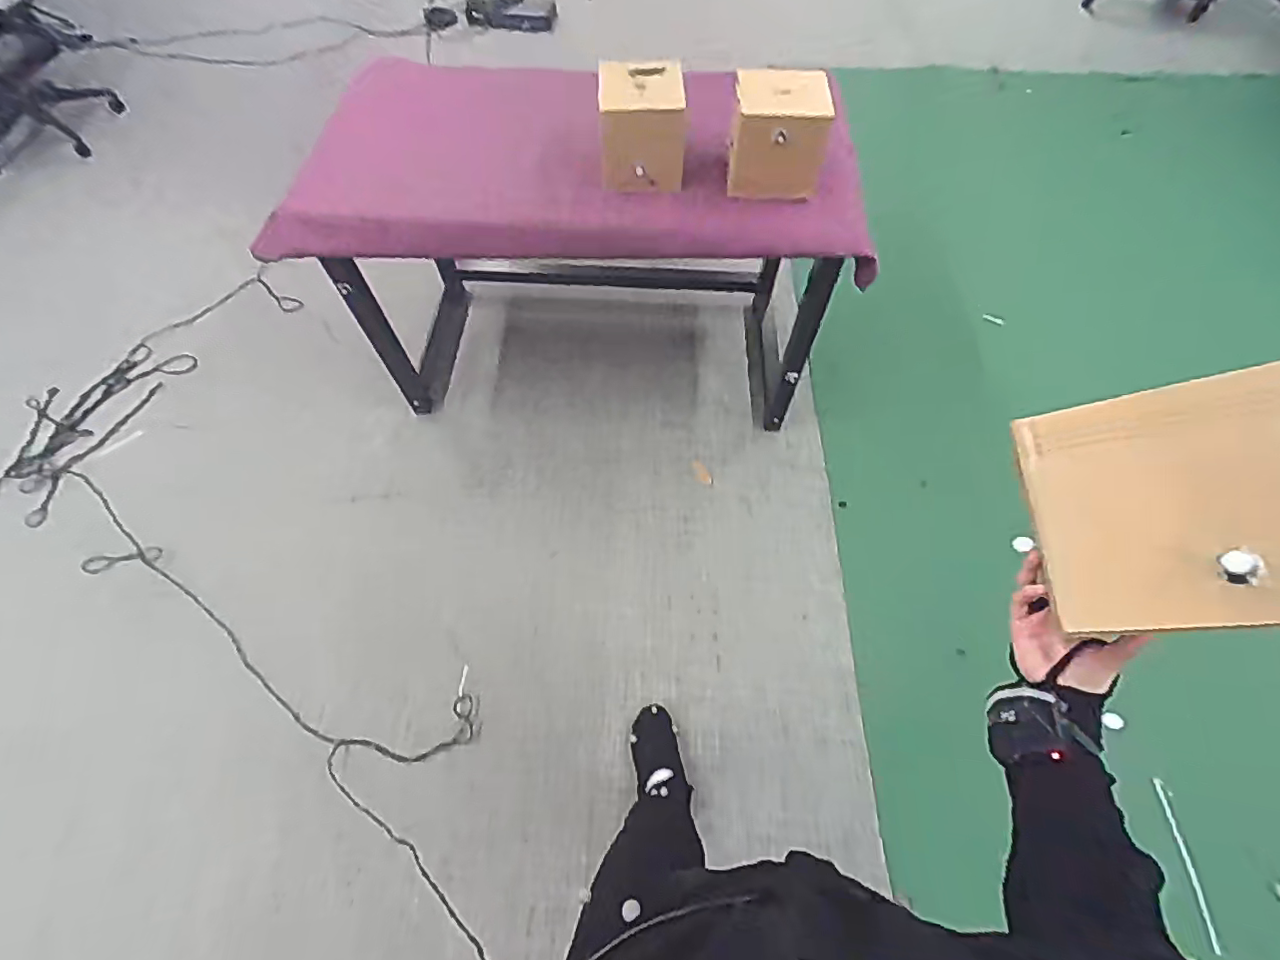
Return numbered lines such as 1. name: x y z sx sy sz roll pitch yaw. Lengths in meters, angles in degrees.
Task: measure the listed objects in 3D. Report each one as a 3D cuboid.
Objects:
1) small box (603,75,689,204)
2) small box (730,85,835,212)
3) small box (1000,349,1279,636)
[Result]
1. small box: 0.011 -0.706 1.125 0.168 0.176 0.179 -1 61 0
2. small box: 0.281 -0.674 1.106 0.179 0.176 0.168 4 59 2
3. small box: 0.399 0.027 0.421 0.179 0.168 0.176 -16 68 31
